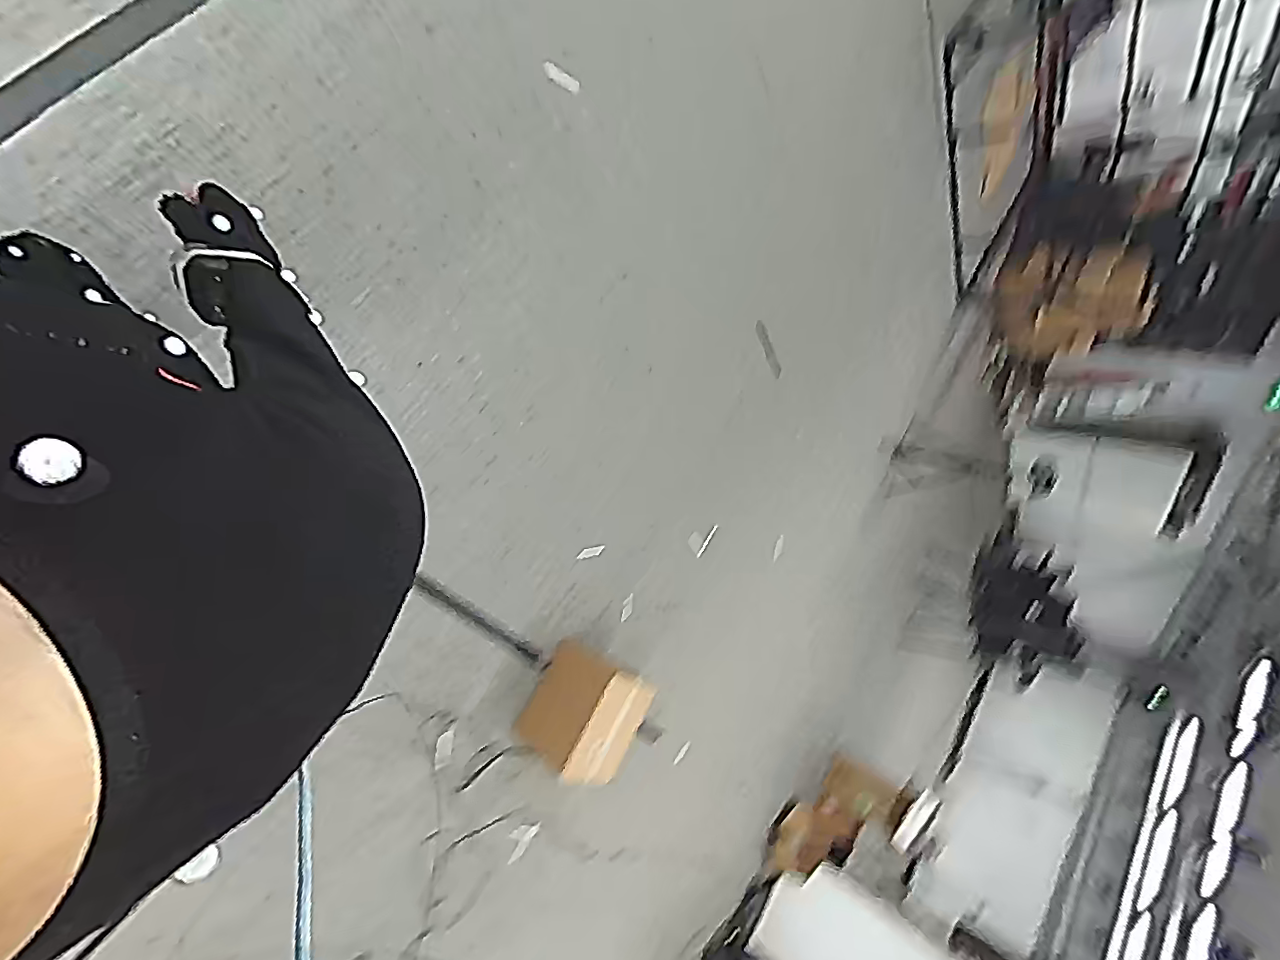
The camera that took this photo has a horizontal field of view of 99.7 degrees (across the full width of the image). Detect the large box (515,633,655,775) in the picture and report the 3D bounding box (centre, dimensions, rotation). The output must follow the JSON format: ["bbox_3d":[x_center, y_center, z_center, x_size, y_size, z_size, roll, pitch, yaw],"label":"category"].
[{"bbox_3d":[-0.212,0.878,2.133,0.320,0.320,0.408,42,73,-46],"label":"large box"}]
